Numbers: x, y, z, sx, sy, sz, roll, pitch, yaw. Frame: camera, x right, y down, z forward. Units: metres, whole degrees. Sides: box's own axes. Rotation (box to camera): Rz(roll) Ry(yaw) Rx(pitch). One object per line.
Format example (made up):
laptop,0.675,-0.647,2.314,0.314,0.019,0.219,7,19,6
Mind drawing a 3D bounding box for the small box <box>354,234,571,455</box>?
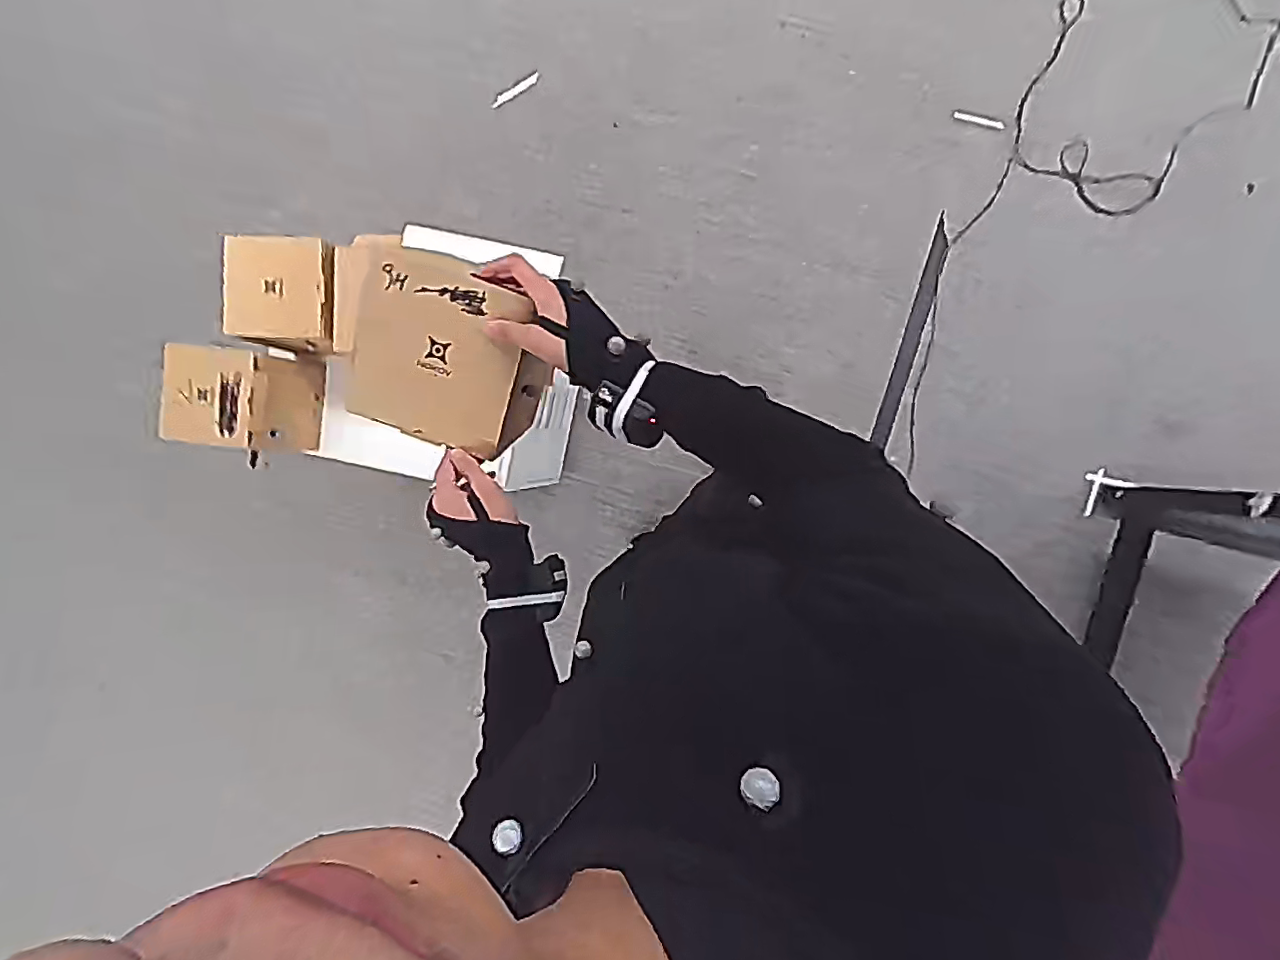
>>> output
small box,-0.189,-0.156,0.615,0.168,0.176,0.179,21,110,-3
